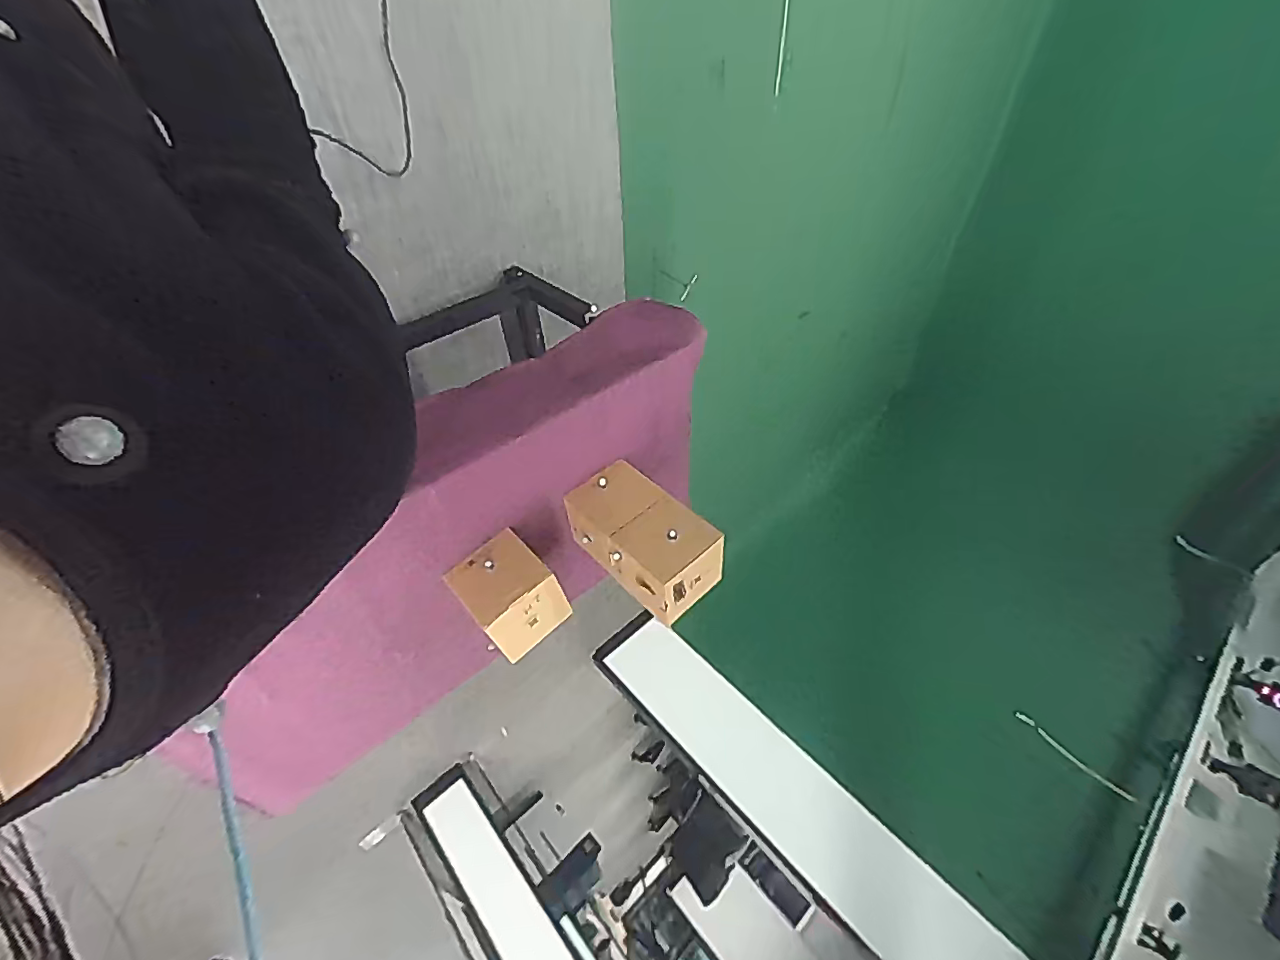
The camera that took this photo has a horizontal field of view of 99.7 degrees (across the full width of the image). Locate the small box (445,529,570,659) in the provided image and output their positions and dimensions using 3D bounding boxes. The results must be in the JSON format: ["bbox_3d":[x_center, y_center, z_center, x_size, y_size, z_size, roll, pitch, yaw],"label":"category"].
[{"bbox_3d":[-0.278,0.237,1.145,0.168,0.176,0.179,-39,144,-21],"label":"small box"}]

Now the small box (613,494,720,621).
[{"bbox_3d":[0.053,0.165,1.180,0.179,0.176,0.168,-36,143,-25],"label":"small box"}]

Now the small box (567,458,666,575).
[{"bbox_3d":[-0.055,0.081,1.270,0.179,0.176,0.168,-35,143,-25],"label":"small box"}]
